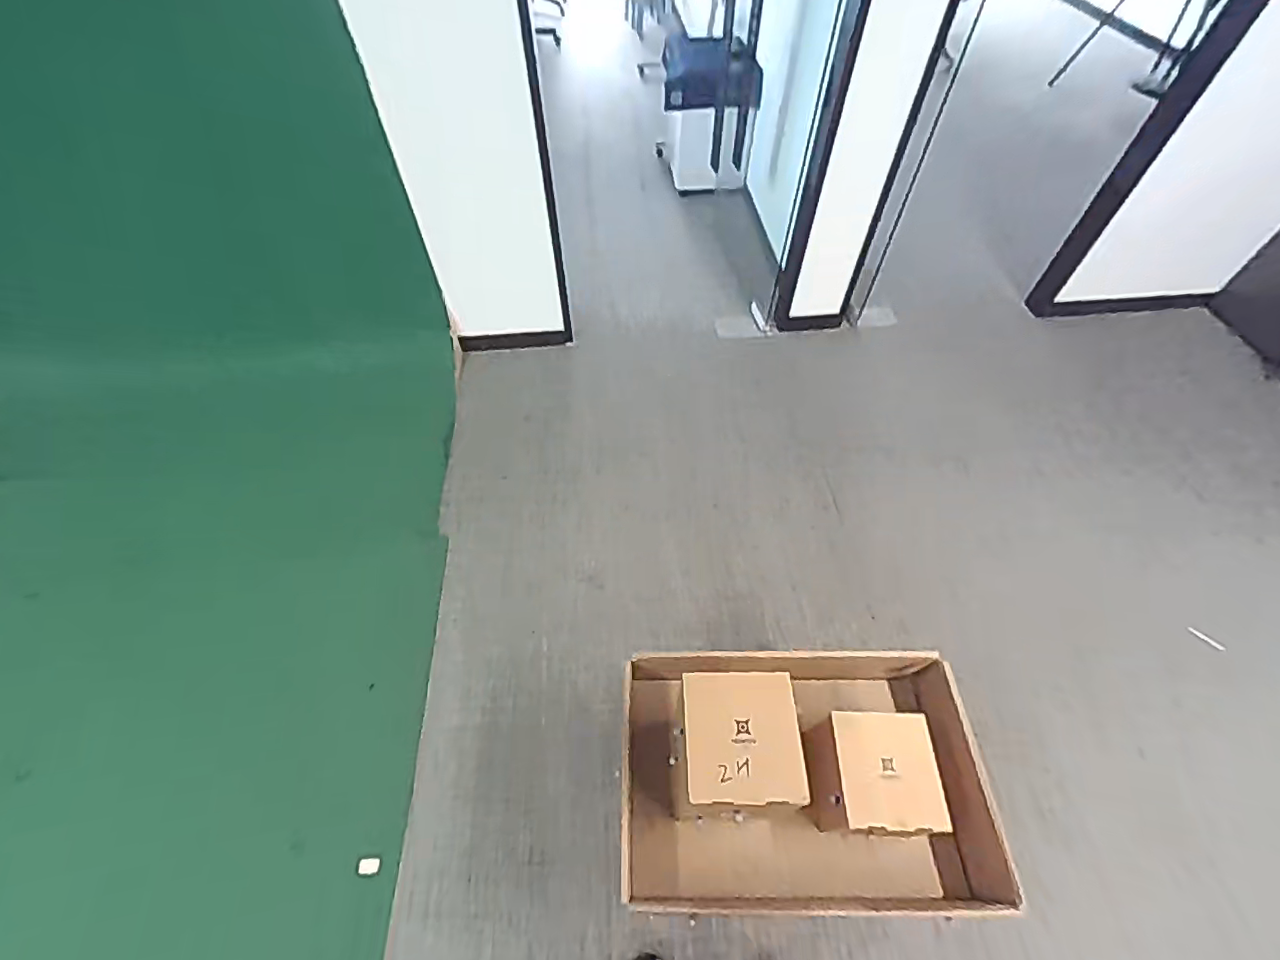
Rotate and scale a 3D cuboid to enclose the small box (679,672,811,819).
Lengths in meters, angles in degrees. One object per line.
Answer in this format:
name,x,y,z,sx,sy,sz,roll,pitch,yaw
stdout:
small box,0.147,0.409,0.829,0.168,0.176,0.179,0,54,1
